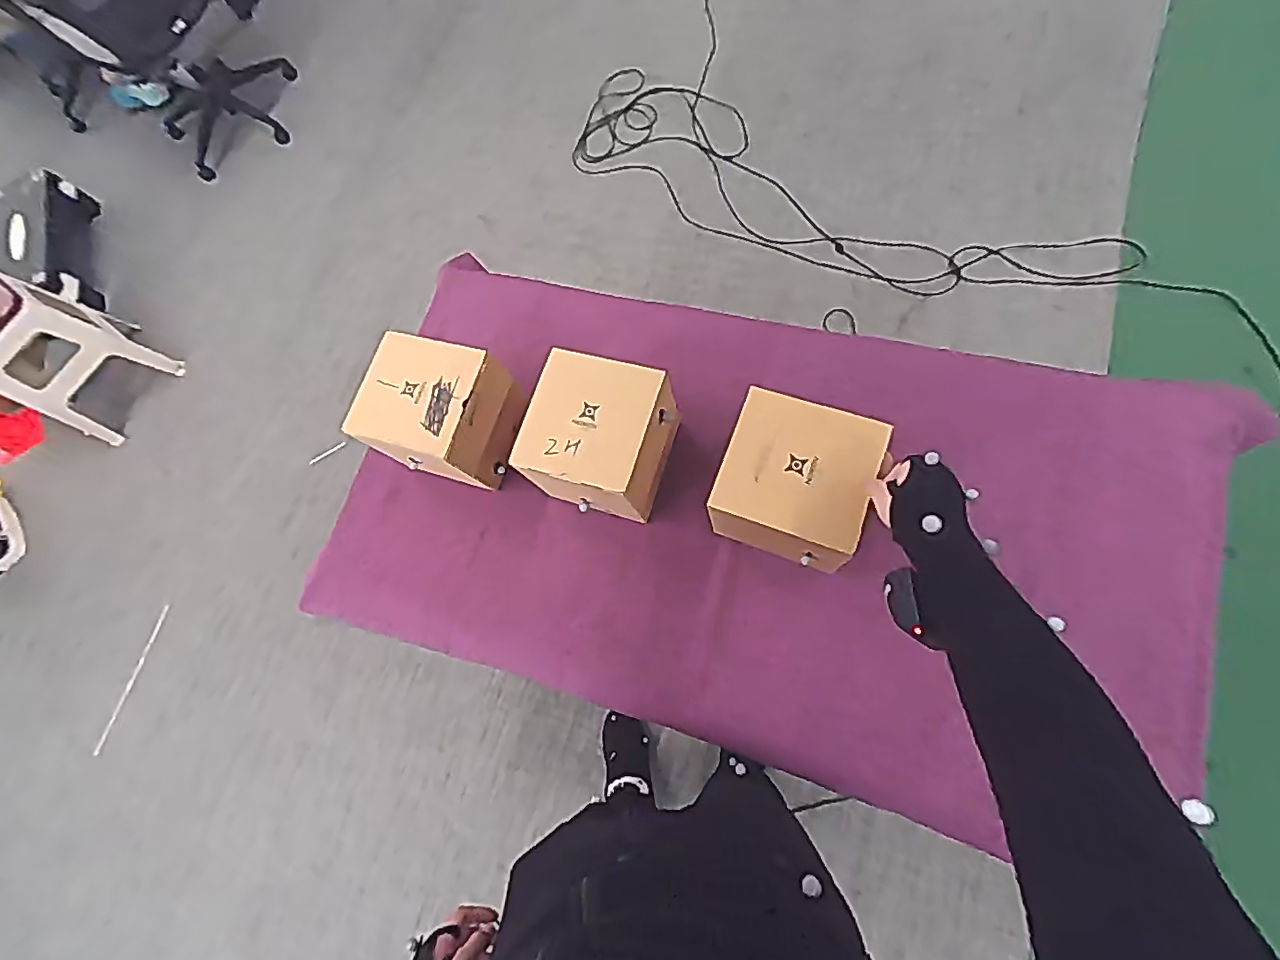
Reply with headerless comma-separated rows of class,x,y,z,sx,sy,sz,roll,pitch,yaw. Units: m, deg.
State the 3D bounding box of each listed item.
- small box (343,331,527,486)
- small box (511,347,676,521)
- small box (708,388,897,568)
small box,-0.298,-0.100,0.827,0.179,0.176,0.168,15,77,15
small box,-0.052,-0.058,0.769,0.168,0.176,0.179,15,78,15
small box,0.203,0.007,0.705,0.179,0.176,0.168,19,78,16
